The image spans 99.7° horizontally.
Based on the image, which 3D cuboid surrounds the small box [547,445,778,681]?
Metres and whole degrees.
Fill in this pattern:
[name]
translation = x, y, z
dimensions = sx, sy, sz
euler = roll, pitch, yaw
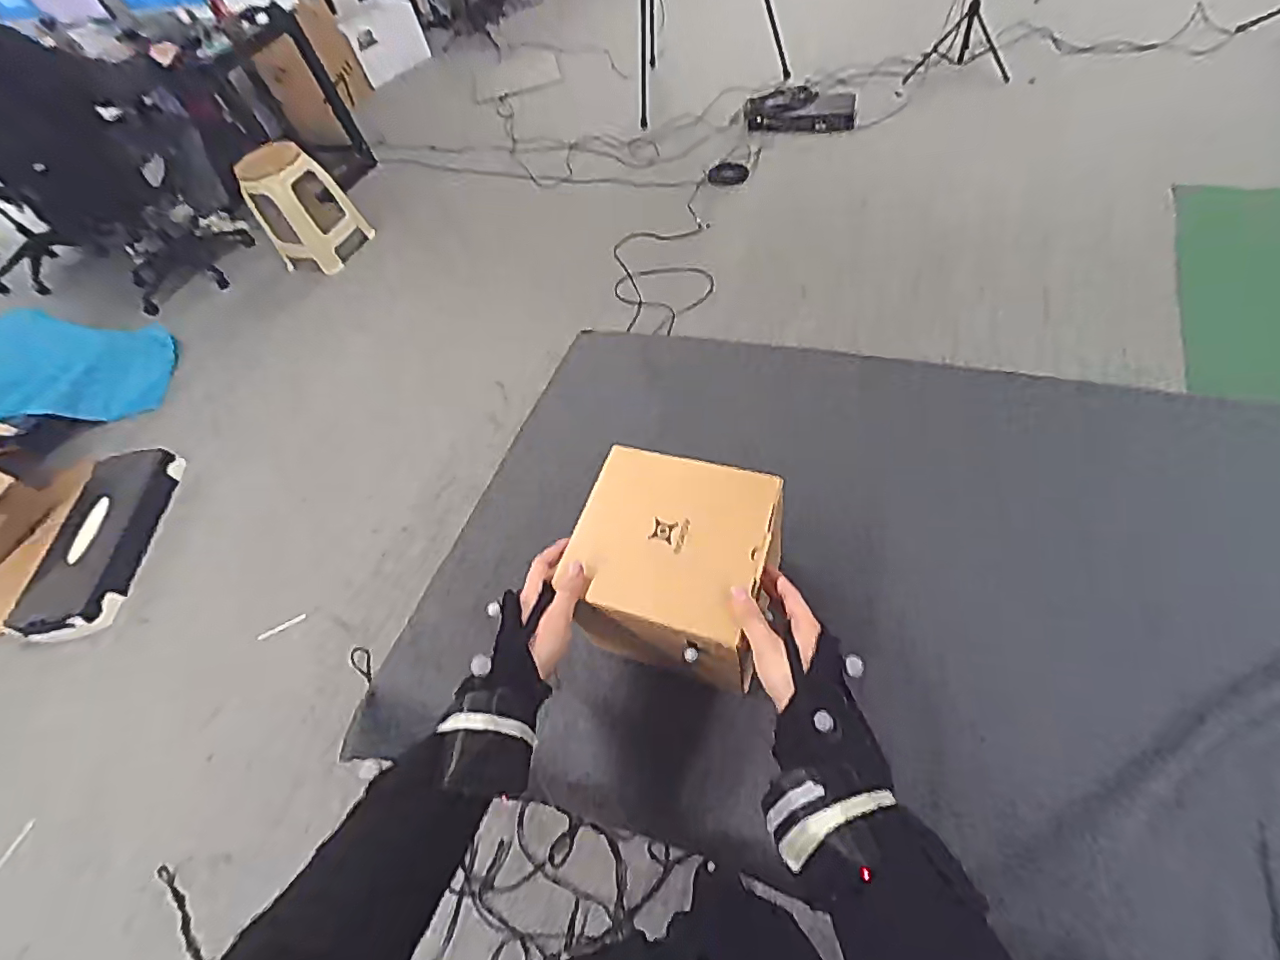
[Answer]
[small box]
translation = 0.036, 0.089, 0.558
dimensions = 0.179, 0.176, 0.168
euler = 12, 59, 19
